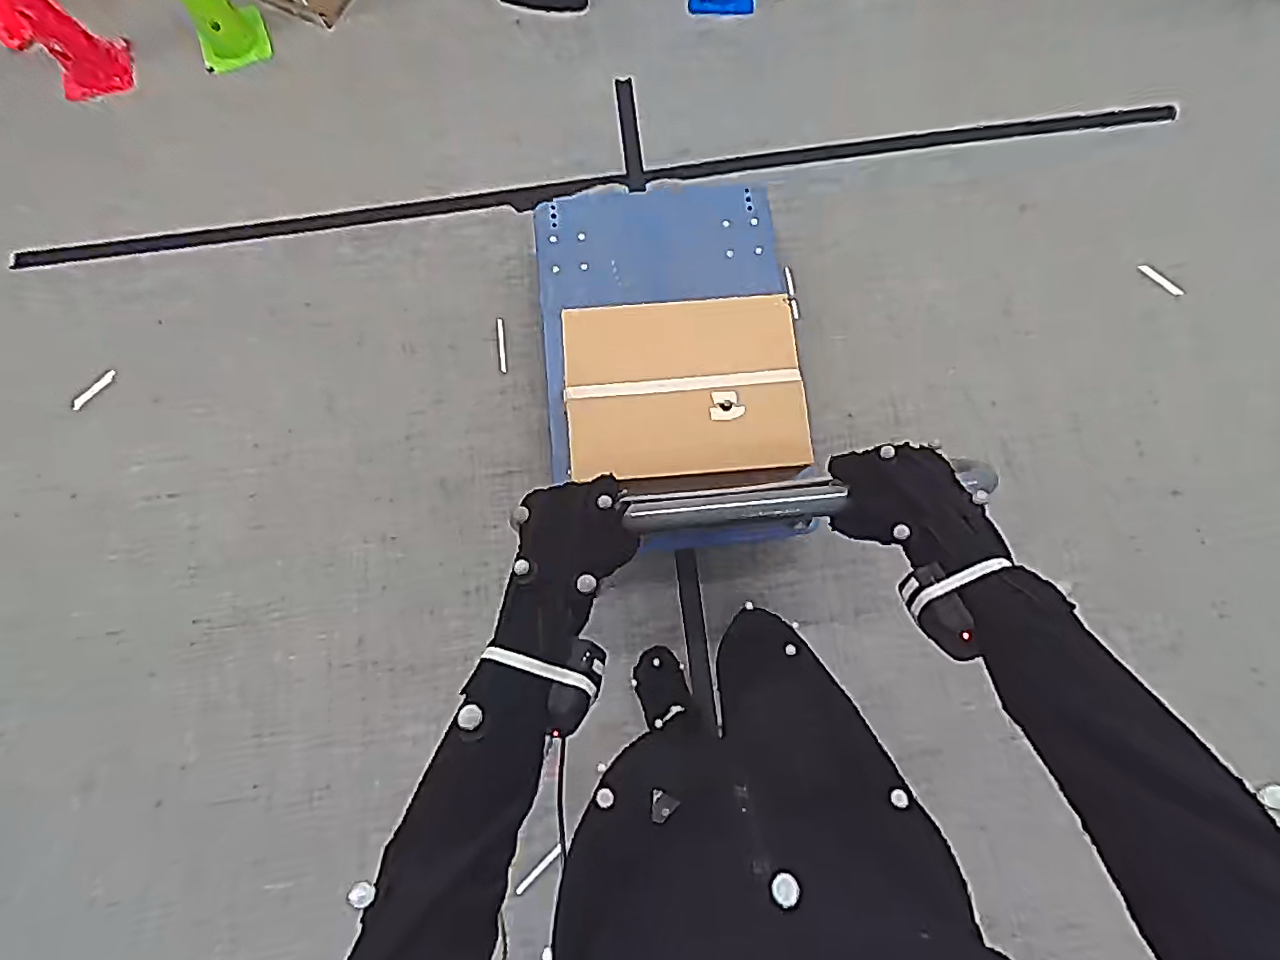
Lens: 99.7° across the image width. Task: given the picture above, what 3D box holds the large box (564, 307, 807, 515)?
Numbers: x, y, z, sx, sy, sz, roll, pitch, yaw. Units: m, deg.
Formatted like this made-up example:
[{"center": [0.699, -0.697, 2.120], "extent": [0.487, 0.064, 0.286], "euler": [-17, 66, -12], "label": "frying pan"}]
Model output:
[{"center": [0.071, -0.118, 1.090], "extent": [0.408, 0.320, 0.320], "euler": [-5, 79, -2], "label": "large box"}]
